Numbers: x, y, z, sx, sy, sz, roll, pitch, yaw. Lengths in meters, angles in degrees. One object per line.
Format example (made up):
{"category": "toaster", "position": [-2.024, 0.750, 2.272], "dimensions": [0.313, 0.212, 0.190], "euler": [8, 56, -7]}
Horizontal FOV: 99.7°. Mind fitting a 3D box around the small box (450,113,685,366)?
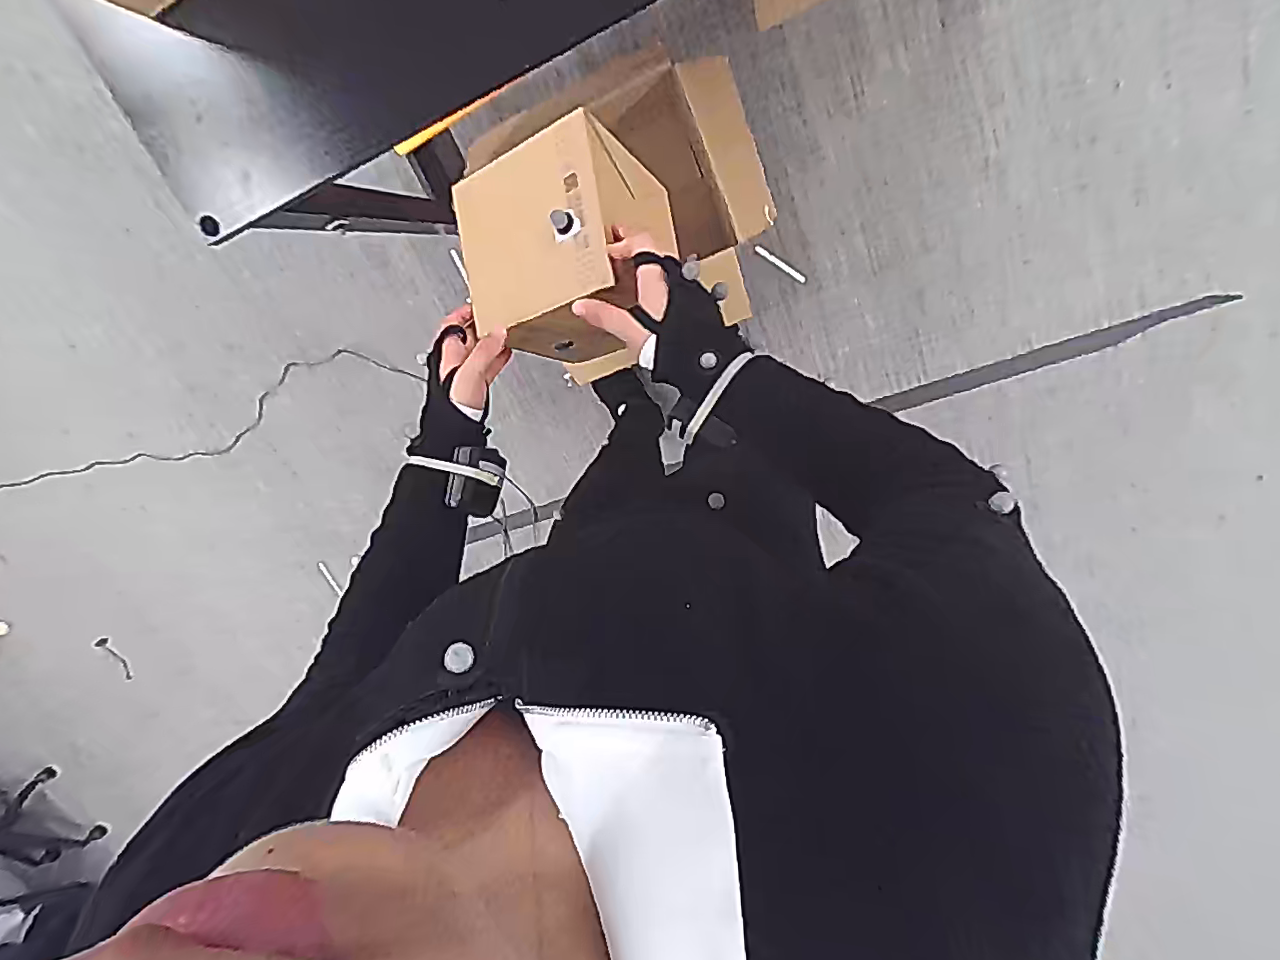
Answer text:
{"category": "small box", "position": [-0.067, -0.234, 0.575], "dimensions": [0.176, 0.179, 0.168], "euler": [-13, 86, 27]}
